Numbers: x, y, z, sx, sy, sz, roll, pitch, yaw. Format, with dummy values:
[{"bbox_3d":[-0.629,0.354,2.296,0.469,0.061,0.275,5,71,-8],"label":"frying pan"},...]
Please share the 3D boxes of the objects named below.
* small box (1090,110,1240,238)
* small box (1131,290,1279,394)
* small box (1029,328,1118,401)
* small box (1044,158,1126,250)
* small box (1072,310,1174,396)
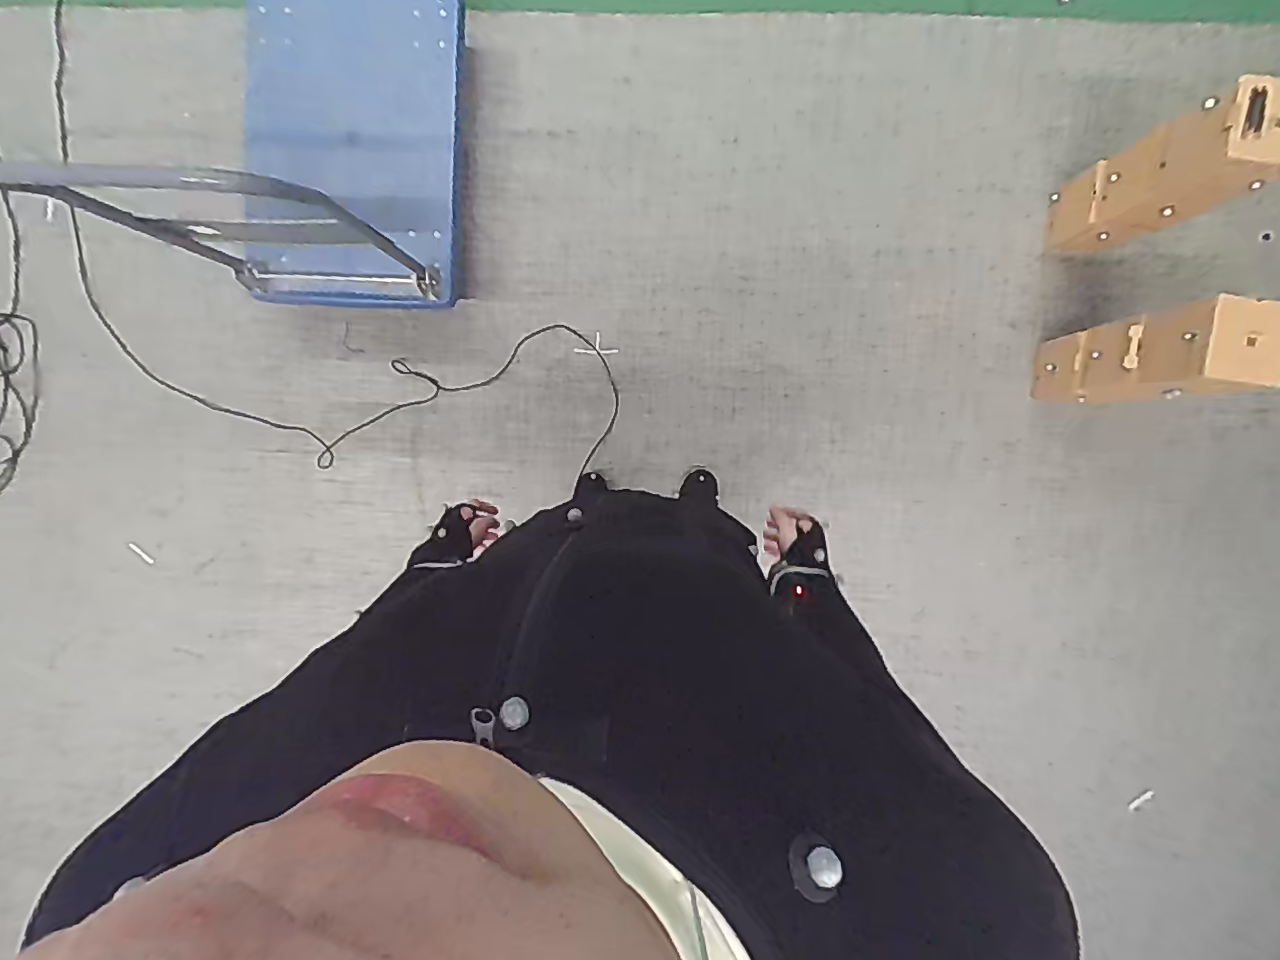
[{"bbox_3d":[1.282,-0.746,1.338,0.168,0.176,0.179,40,92,1],"label":"small box"},{"bbox_3d":[1.238,-0.295,1.186,0.168,0.176,0.179,9,93,1],"label":"small box"},{"bbox_3d":[1.235,-0.317,1.513,0.179,0.176,0.168,5,93,1],"label":"small box"},{"bbox_3d":[1.266,-0.753,1.493,0.179,0.176,0.168,8,93,0],"label":"small box"},{"bbox_3d":[1.242,-0.309,1.349,0.179,0.176,0.168,10,92,0],"label":"small box"}]
